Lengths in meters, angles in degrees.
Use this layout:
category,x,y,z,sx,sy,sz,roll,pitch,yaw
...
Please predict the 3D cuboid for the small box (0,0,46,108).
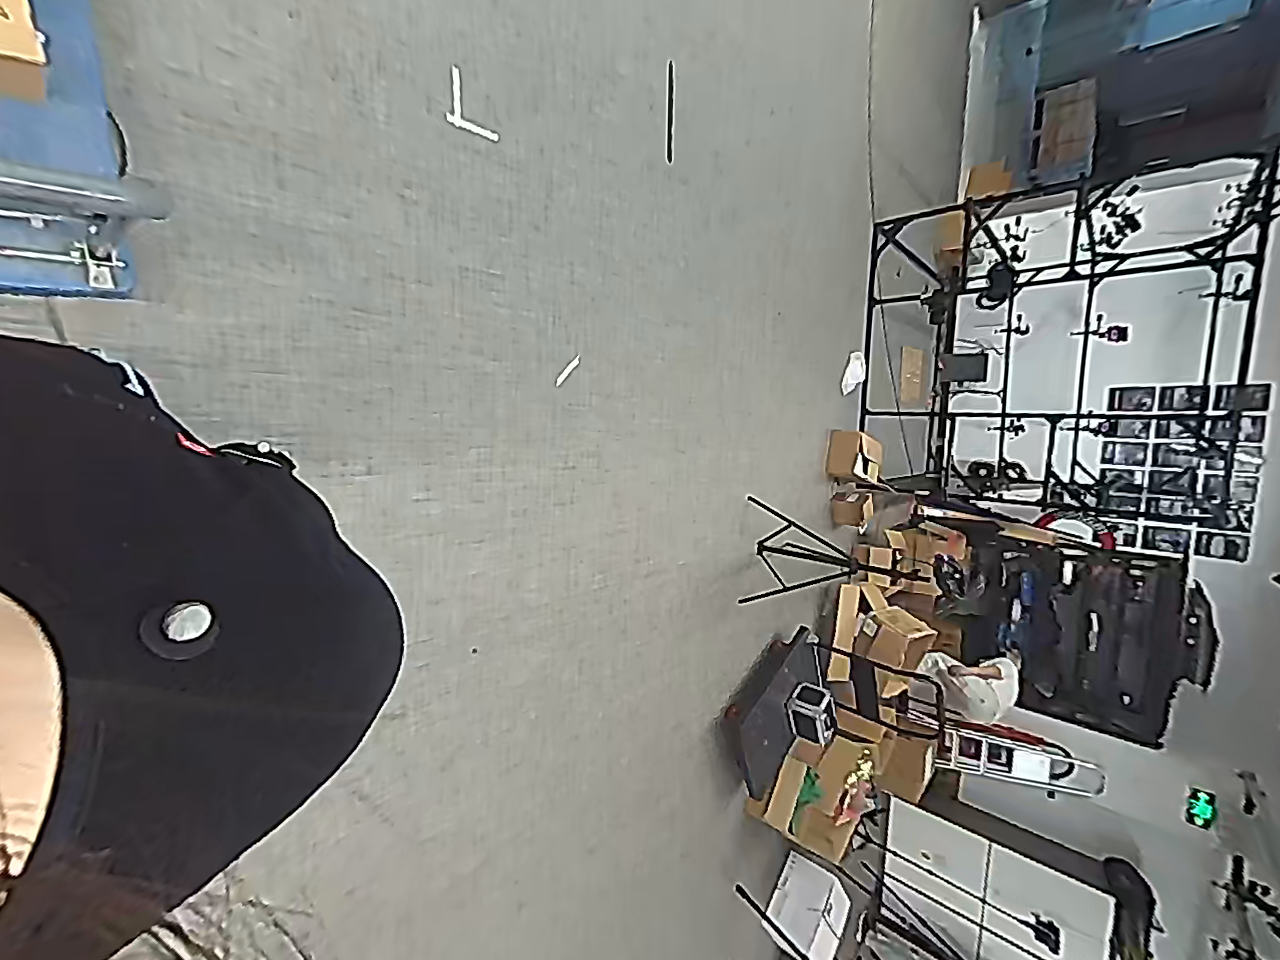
category,x,y,z,sx,sy,sz,roll,pitch,yaw
small box,-0.973,-0.649,0.747,0.179,0.176,0.168,-21,111,-45
